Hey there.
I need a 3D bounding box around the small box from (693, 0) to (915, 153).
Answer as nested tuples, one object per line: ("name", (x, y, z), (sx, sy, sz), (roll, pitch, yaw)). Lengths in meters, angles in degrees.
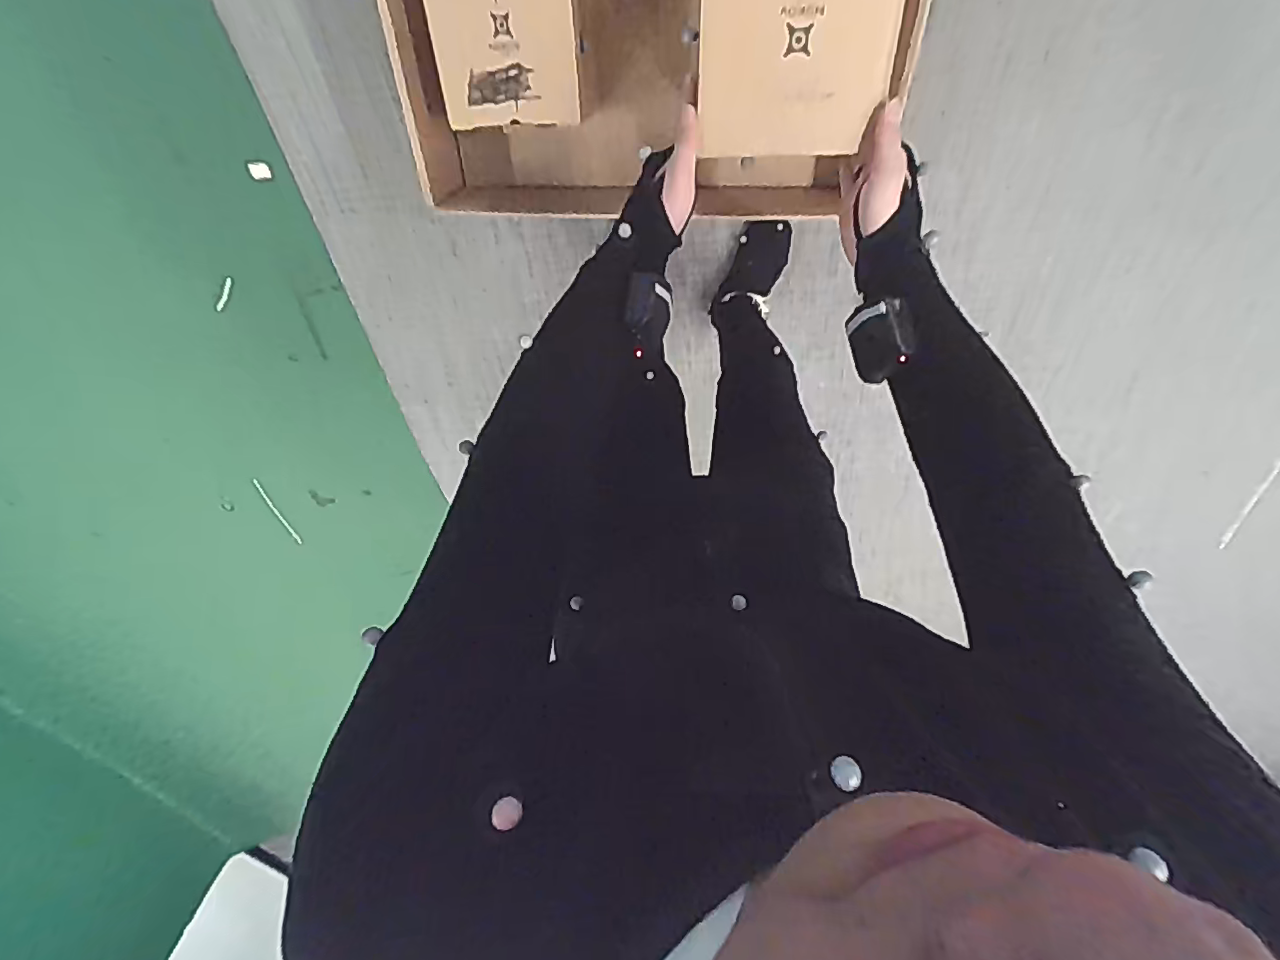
("small box", (0.138, -0.410, 0.506), (0.168, 0.176, 0.179), (1, 122, 2))
